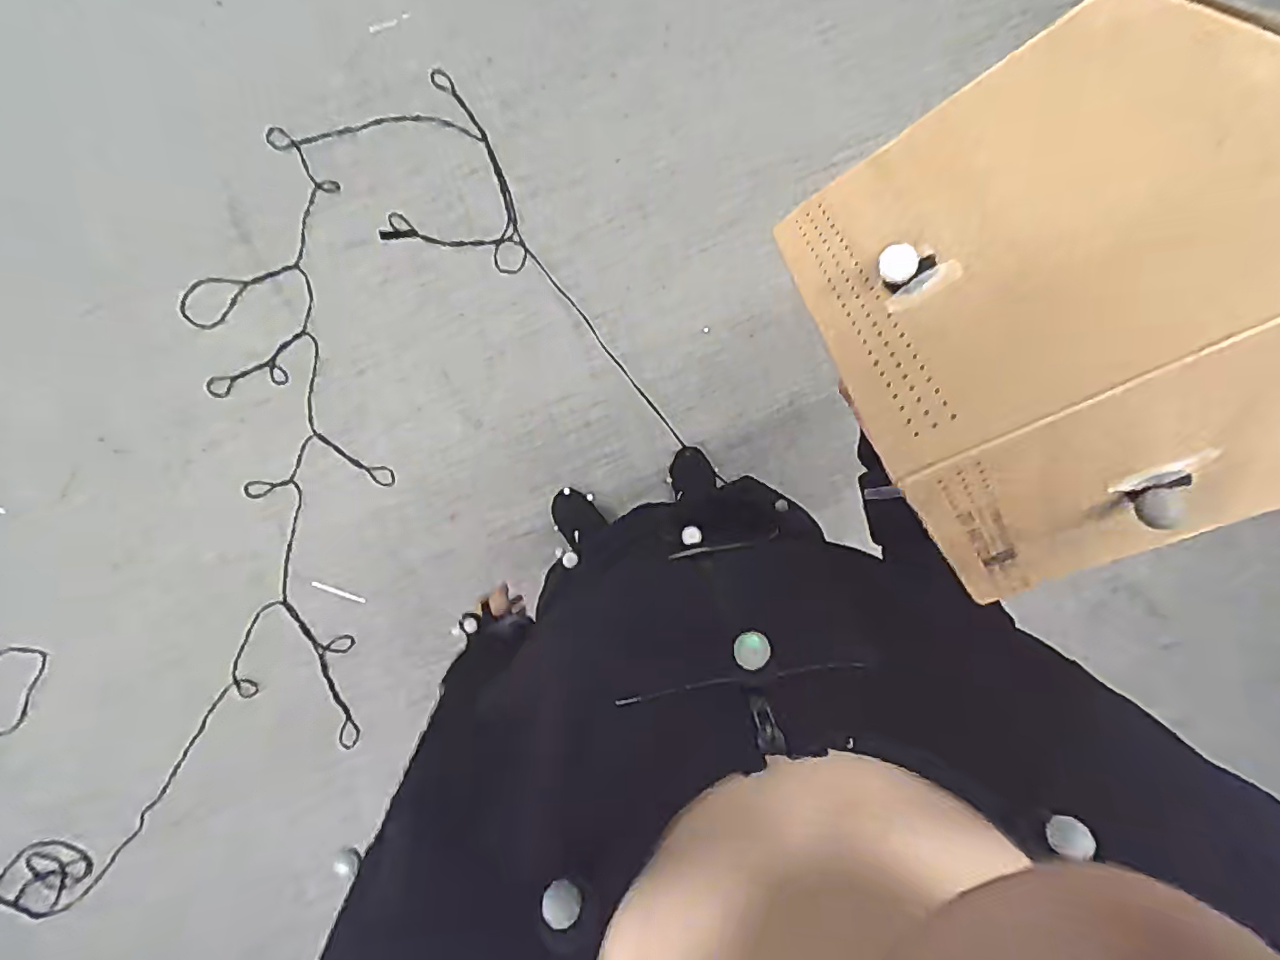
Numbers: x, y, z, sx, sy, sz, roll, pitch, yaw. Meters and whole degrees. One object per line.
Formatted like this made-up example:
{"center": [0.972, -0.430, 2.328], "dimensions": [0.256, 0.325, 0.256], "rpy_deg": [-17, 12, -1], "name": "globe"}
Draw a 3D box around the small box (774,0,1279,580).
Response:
{"center": [0.192, -0.070, 0.273], "dimensions": [0.176, 0.168, 0.179], "rpy_deg": [-29, 50, 26], "name": "small box"}
